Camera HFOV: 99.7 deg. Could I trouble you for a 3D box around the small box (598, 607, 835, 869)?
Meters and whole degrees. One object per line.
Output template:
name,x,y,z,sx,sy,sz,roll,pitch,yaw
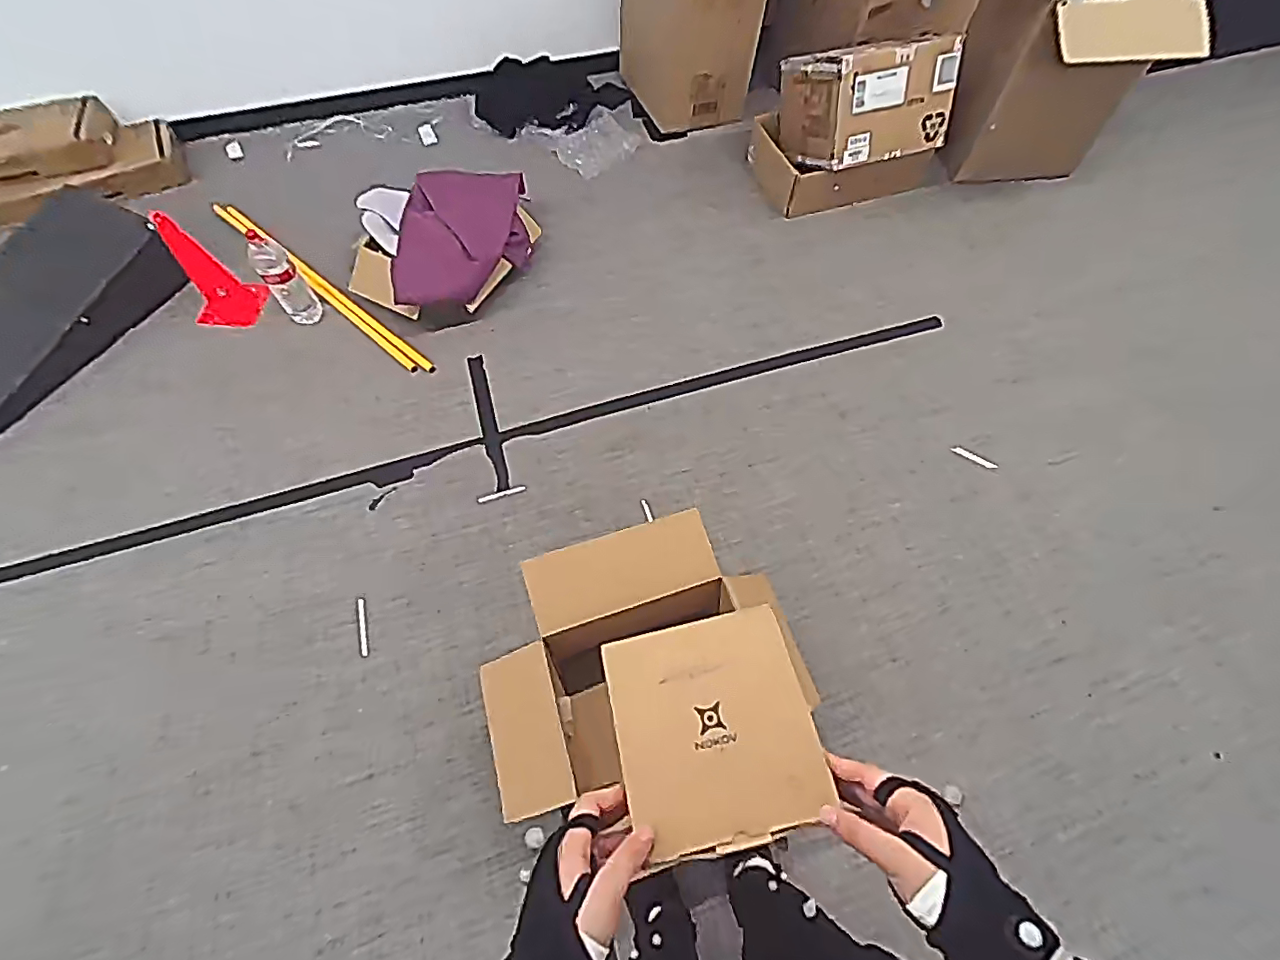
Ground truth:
small box,0.065,0.248,0.527,0.168,0.176,0.179,-14,58,-2
